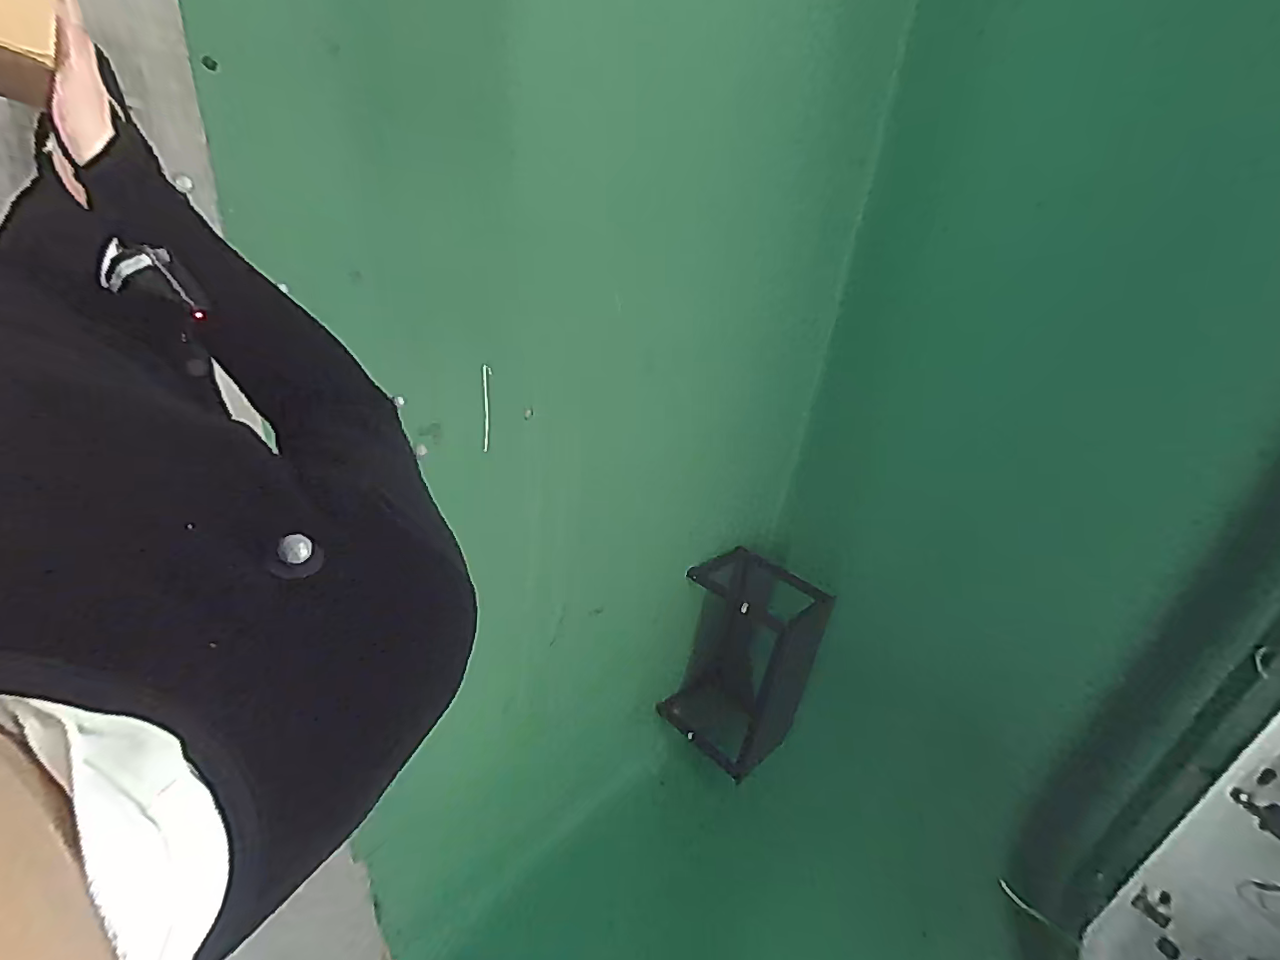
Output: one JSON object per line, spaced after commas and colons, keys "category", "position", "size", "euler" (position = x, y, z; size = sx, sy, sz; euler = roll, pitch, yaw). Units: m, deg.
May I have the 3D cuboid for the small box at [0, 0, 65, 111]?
{"category": "small box", "position": [-0.513, -0.393, 0.365], "size": [0.168, 0.176, 0.179], "euler": [0, 104, -49]}
